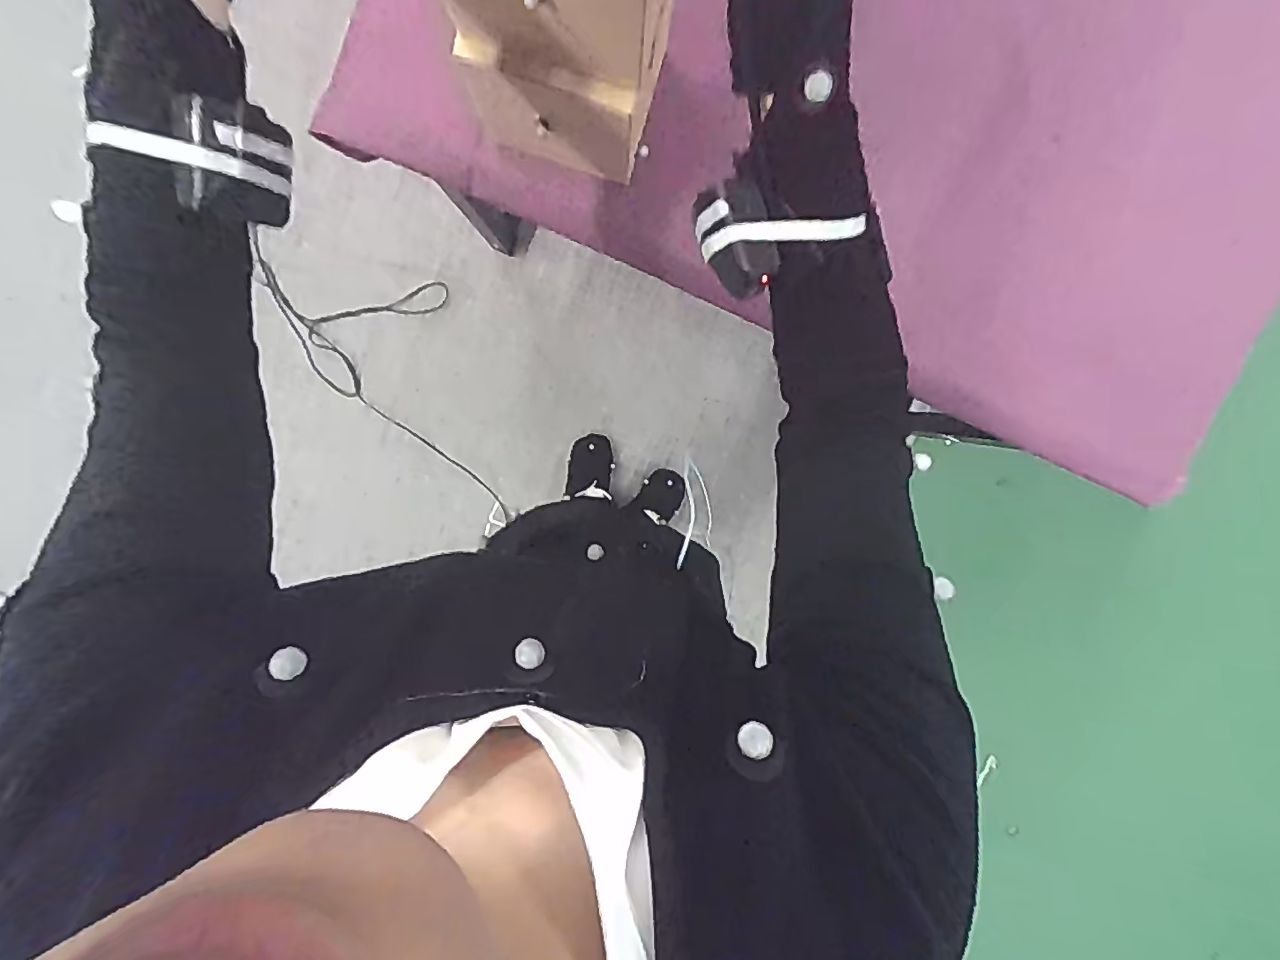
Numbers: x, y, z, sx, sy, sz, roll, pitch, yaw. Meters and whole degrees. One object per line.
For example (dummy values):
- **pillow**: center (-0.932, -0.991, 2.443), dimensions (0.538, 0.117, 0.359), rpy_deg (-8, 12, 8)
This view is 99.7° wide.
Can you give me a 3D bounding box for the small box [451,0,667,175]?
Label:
- **small box**: center (-0.075, -0.460, 0.579), dimensions (0.179, 0.176, 0.168), rpy_deg (16, 97, -5)
